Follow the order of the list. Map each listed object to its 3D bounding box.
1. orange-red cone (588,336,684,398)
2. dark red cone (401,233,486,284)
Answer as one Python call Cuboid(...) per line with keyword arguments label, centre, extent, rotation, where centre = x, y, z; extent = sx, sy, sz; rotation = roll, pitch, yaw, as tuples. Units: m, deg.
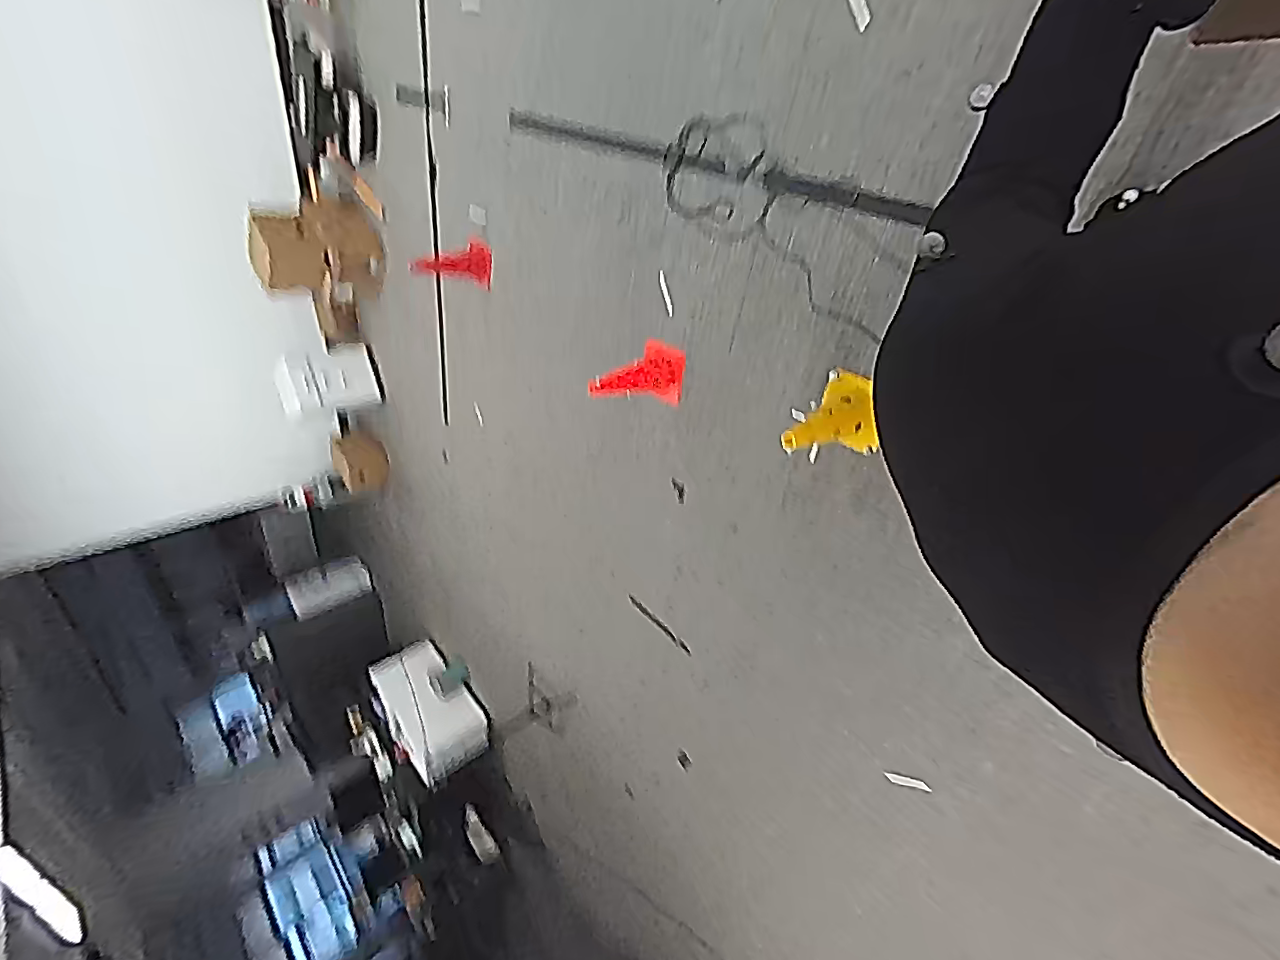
Cuboid(label="orange-red cone", centre=(-0.037, -0.374, 1.930), extent=(0.199, 0.360, 0.198), rotation=(32, 129, 33))
Cuboid(label="dark red cone", centre=(-0.937, -1.056, 2.576), extent=(0.202, 0.394, 0.201), rotation=(40, 132, 29))
